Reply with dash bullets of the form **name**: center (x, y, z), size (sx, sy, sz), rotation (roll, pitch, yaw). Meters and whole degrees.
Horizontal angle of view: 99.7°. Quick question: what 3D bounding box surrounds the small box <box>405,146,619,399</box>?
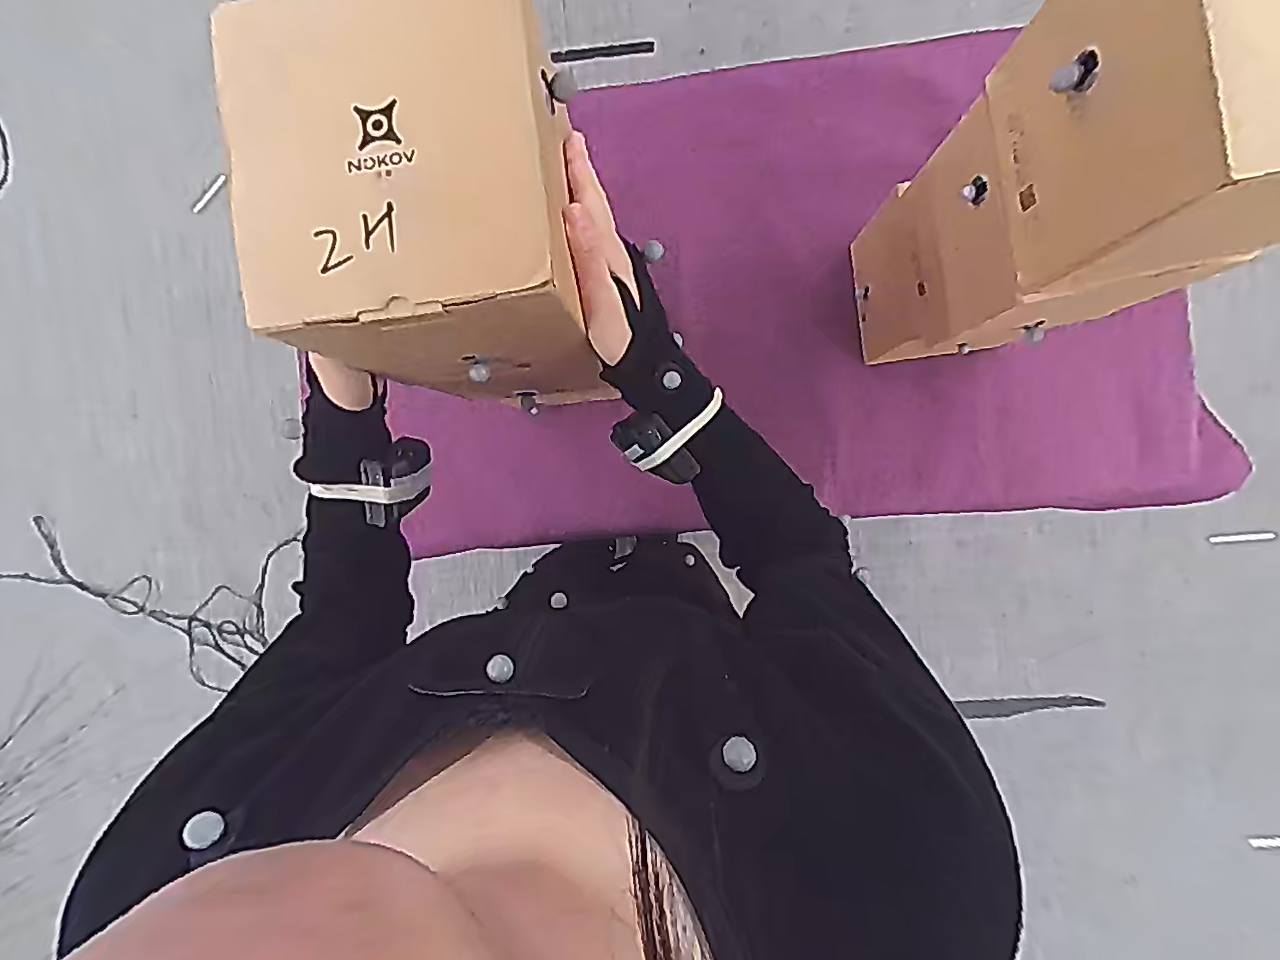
- **small box**: center (-0.116, -0.181, 0.522), size (0.168, 0.176, 0.179), rotation (-6, 92, 5)

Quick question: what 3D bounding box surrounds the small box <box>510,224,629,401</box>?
- **small box**: center (-0.108, -0.197, 0.684), size (0.168, 0.176, 0.179), rotation (-5, 90, 4)

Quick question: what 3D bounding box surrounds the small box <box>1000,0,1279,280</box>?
- **small box**: center (0.349, -0.238, 0.322), size (0.179, 0.176, 0.168), rotation (-10, 91, 5)

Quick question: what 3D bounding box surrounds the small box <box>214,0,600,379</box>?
- **small box**: center (-0.125, -0.176, 0.353), size (0.168, 0.176, 0.179), rotation (-7, 90, 4)

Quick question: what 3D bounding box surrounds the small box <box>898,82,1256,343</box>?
- **small box**: center (0.363, -0.233, 0.485), size (0.179, 0.176, 0.168), rotation (-10, 90, 4)
